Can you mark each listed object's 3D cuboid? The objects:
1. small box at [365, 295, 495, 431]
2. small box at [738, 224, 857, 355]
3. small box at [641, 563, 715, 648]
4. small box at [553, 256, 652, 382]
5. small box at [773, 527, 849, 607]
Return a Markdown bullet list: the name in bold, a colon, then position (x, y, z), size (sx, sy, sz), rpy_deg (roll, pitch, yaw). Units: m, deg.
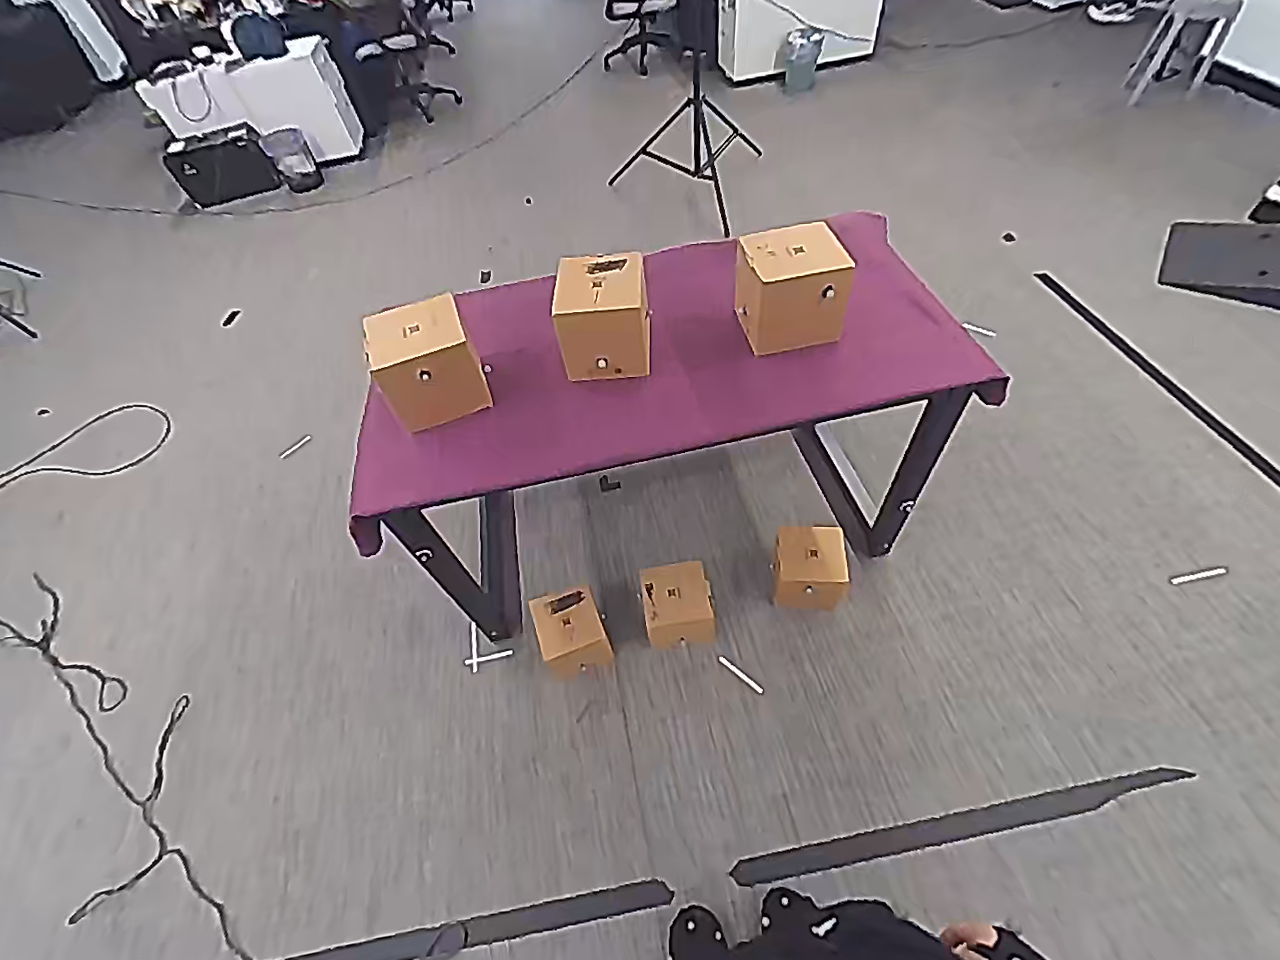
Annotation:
- **small box**: position (-0.404, -0.222, 1.051), size (0.179, 0.176, 0.168), rpy_deg (-21, 55, -9)
- **small box**: position (0.299, -0.372, 1.068), size (0.179, 0.176, 0.168), rpy_deg (-11, 52, 0)
- **small box**: position (0.102, 0.346, 1.477), size (0.179, 0.176, 0.168), rpy_deg (-9, 53, 1)
- **small box**: position (-0.067, -0.318, 1.077), size (0.168, 0.176, 0.179), rpy_deg (-3, 54, 6)
- **small box**: position (0.468, 0.245, 1.503), size (0.179, 0.176, 0.168), rpy_deg (1, 55, 10)
